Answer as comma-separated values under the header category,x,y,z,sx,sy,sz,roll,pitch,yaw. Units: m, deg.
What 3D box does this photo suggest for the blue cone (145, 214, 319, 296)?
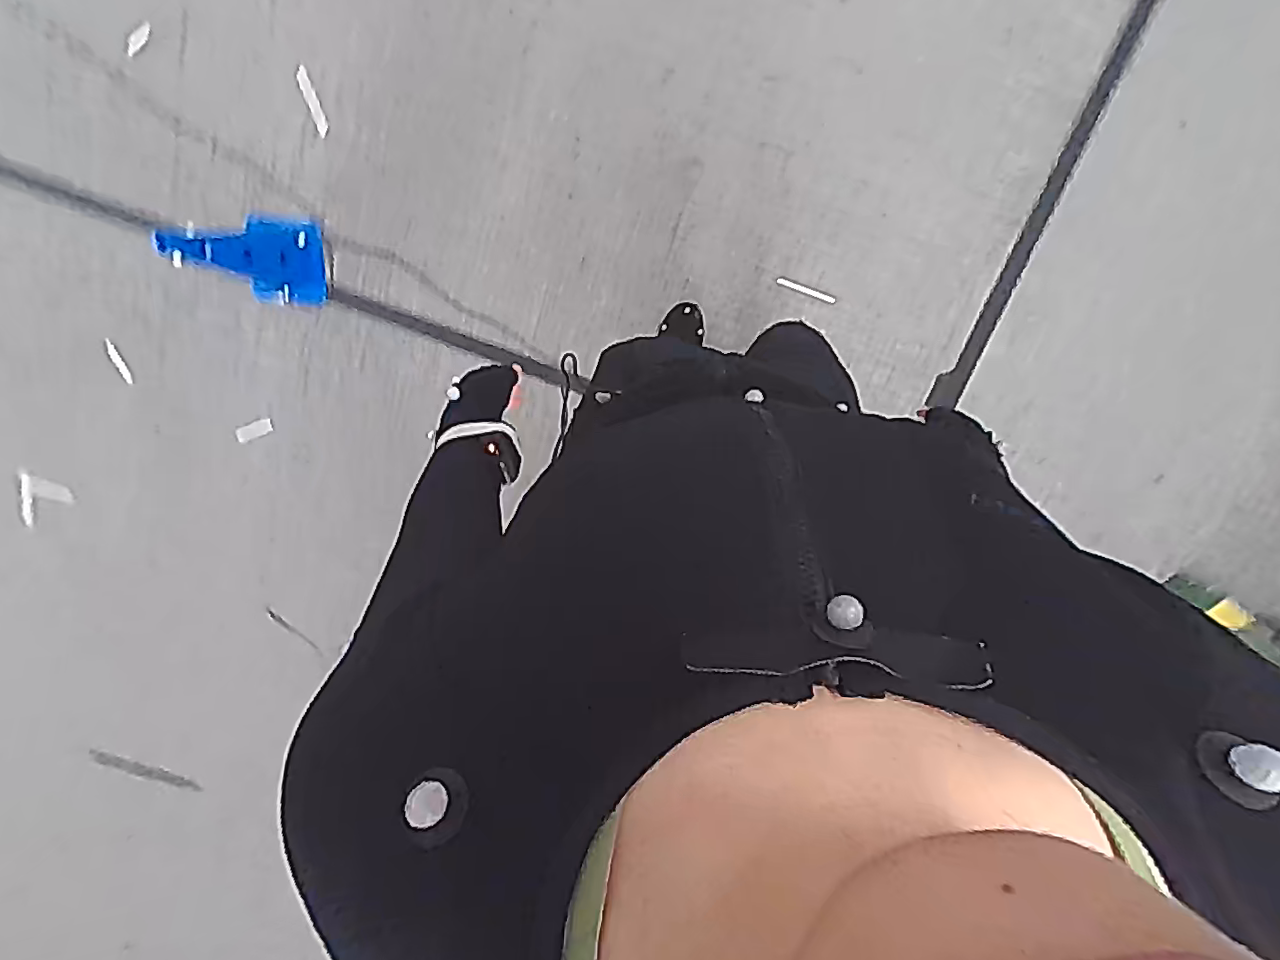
category,x,y,z,sx,sy,sz,roll,pitch,yaw
blue cone,-0.921,-0.520,1.204,0.192,0.380,0.193,5,106,3
